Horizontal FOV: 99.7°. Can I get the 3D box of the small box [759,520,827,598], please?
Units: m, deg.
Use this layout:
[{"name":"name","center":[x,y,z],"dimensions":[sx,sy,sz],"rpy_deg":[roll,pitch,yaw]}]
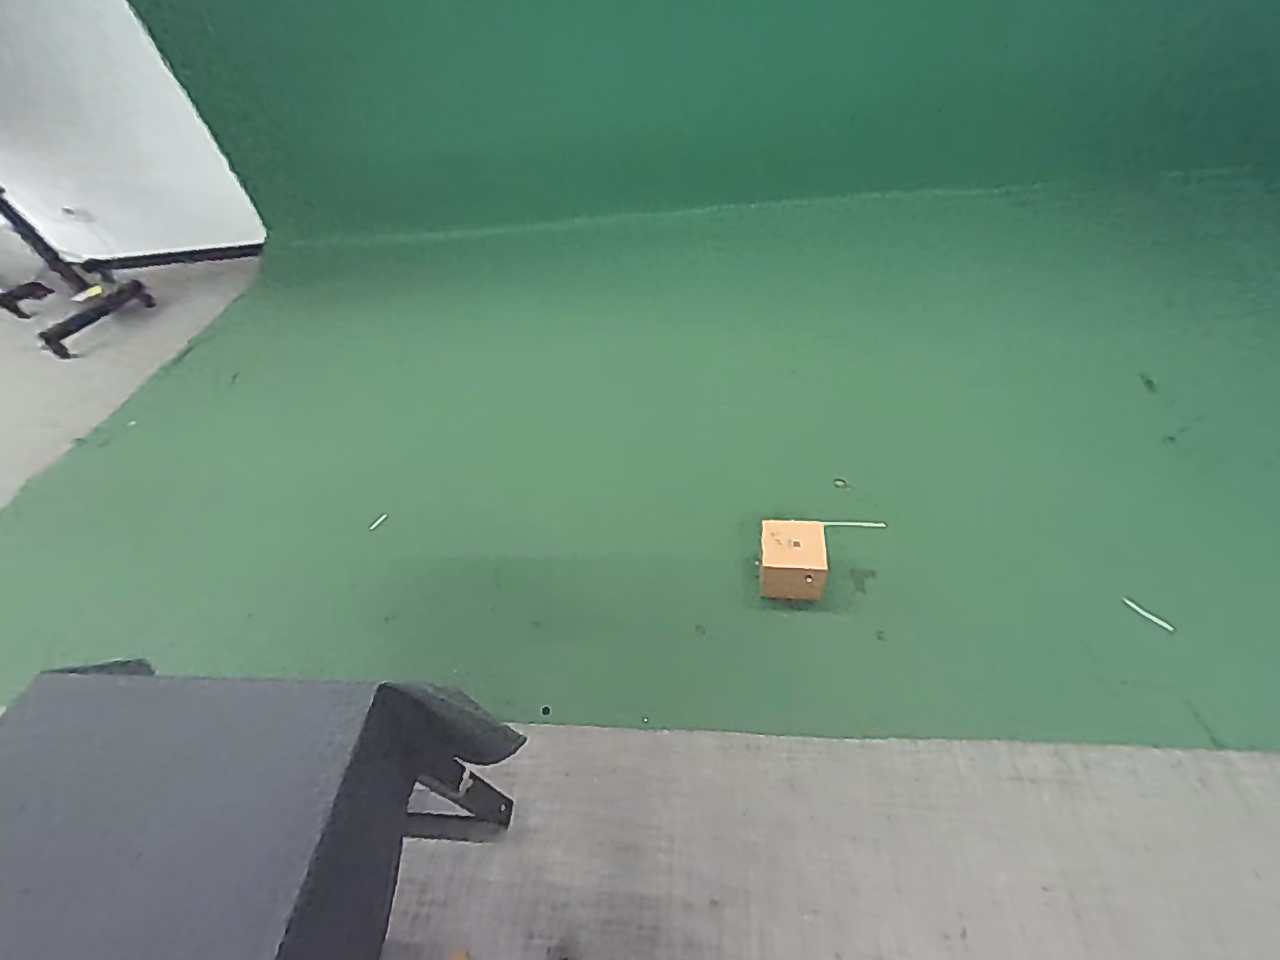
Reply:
[{"name":"small box","center":[0.446,0.236,1.594],"dimensions":[0.179,0.176,0.168],"rpy_deg":[1,48,11]}]
